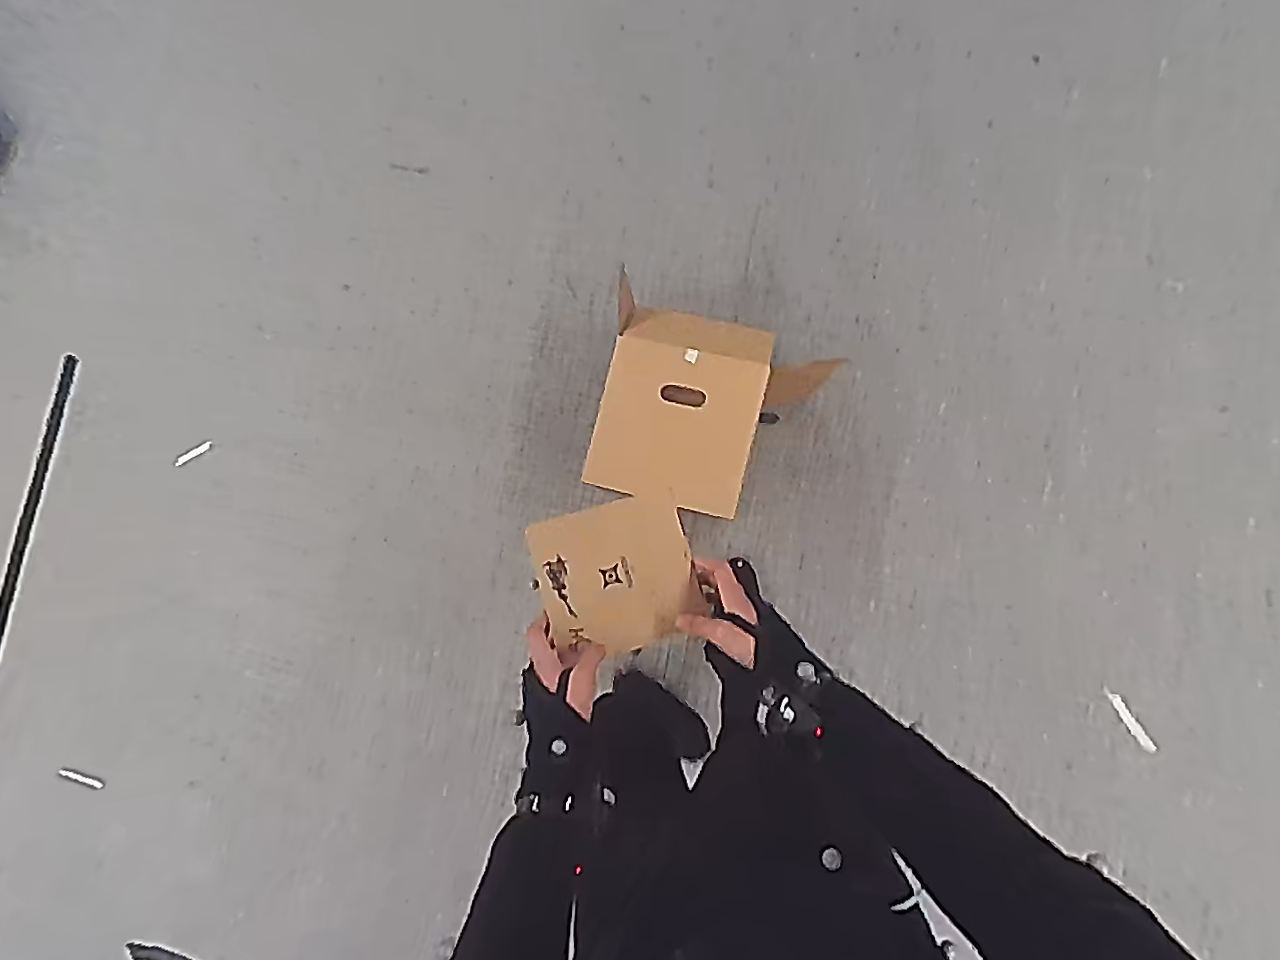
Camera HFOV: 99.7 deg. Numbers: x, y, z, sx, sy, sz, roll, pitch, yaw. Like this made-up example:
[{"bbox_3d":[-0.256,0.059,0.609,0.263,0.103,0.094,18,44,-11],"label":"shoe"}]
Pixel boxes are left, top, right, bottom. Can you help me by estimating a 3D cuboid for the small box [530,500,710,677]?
[{"bbox_3d":[-0.030,0.136,0.694,0.179,0.176,0.168,-15,78,-7],"label":"small box"}]
